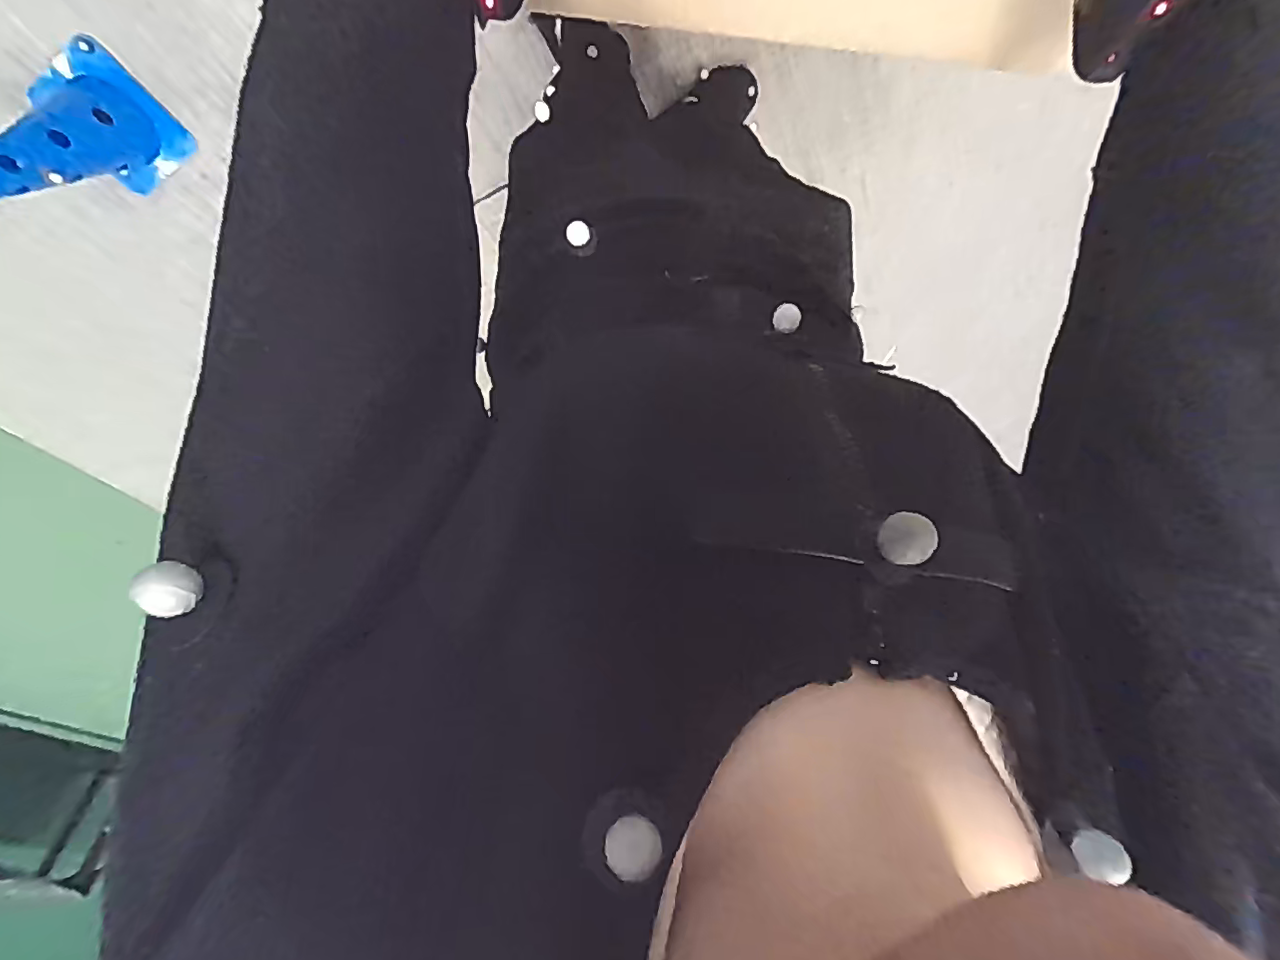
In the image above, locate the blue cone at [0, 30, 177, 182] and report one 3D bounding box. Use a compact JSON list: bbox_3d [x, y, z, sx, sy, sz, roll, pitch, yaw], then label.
[{"bbox_3d":[-0.974,-0.553,0.874,0.193,0.380,0.192,-21,132,18],"label":"blue cone"}]
